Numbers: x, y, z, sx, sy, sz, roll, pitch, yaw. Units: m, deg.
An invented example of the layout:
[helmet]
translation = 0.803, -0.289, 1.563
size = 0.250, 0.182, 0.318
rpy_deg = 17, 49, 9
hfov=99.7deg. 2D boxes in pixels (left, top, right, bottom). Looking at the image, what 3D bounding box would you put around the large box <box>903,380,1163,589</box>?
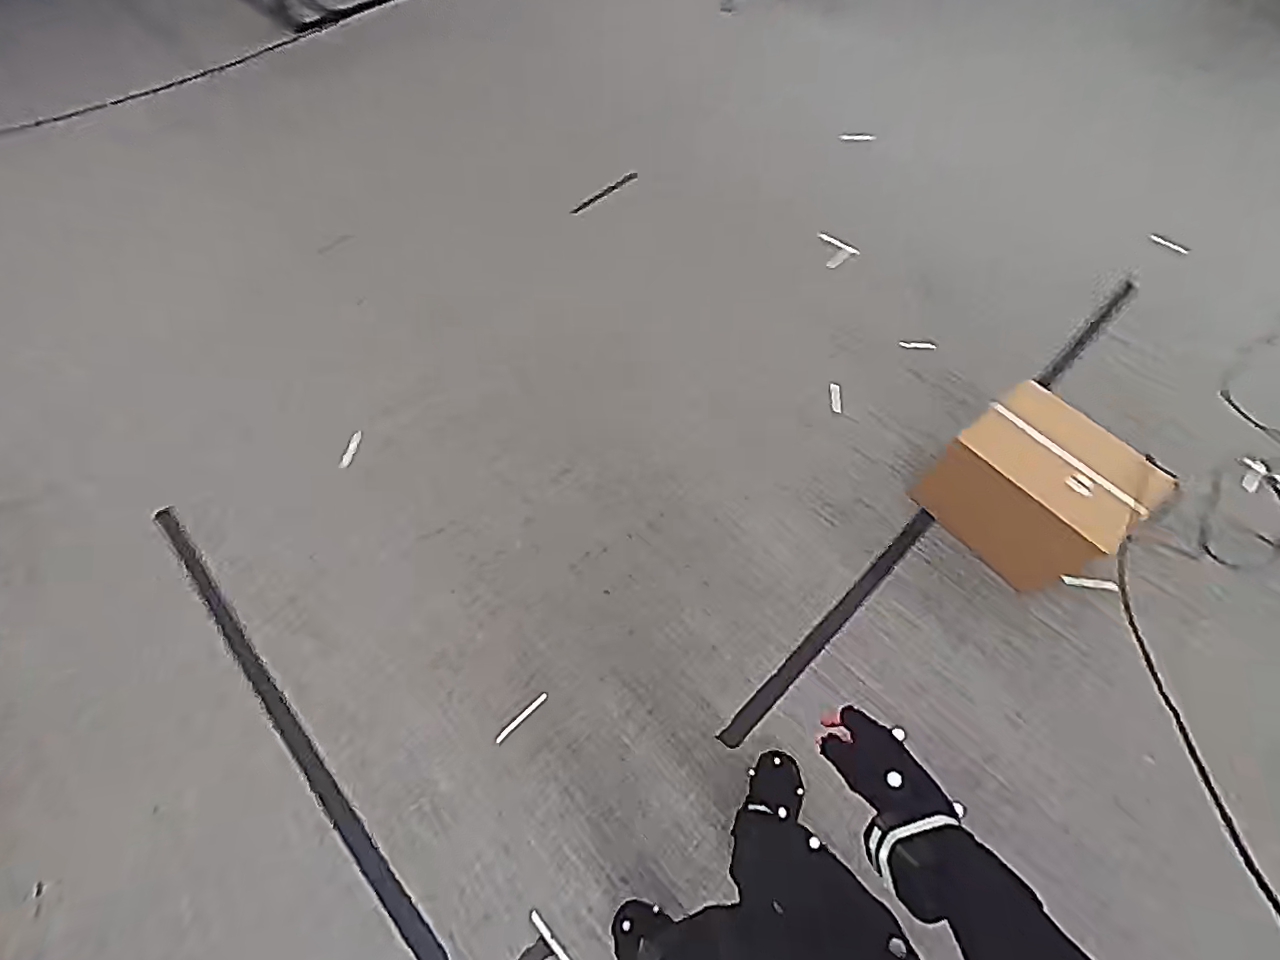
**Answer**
[large box]
translation = 1.022, 0.014, 1.461
size = 0.320, 0.320, 0.408
rpy_deg = -35, 66, -16
